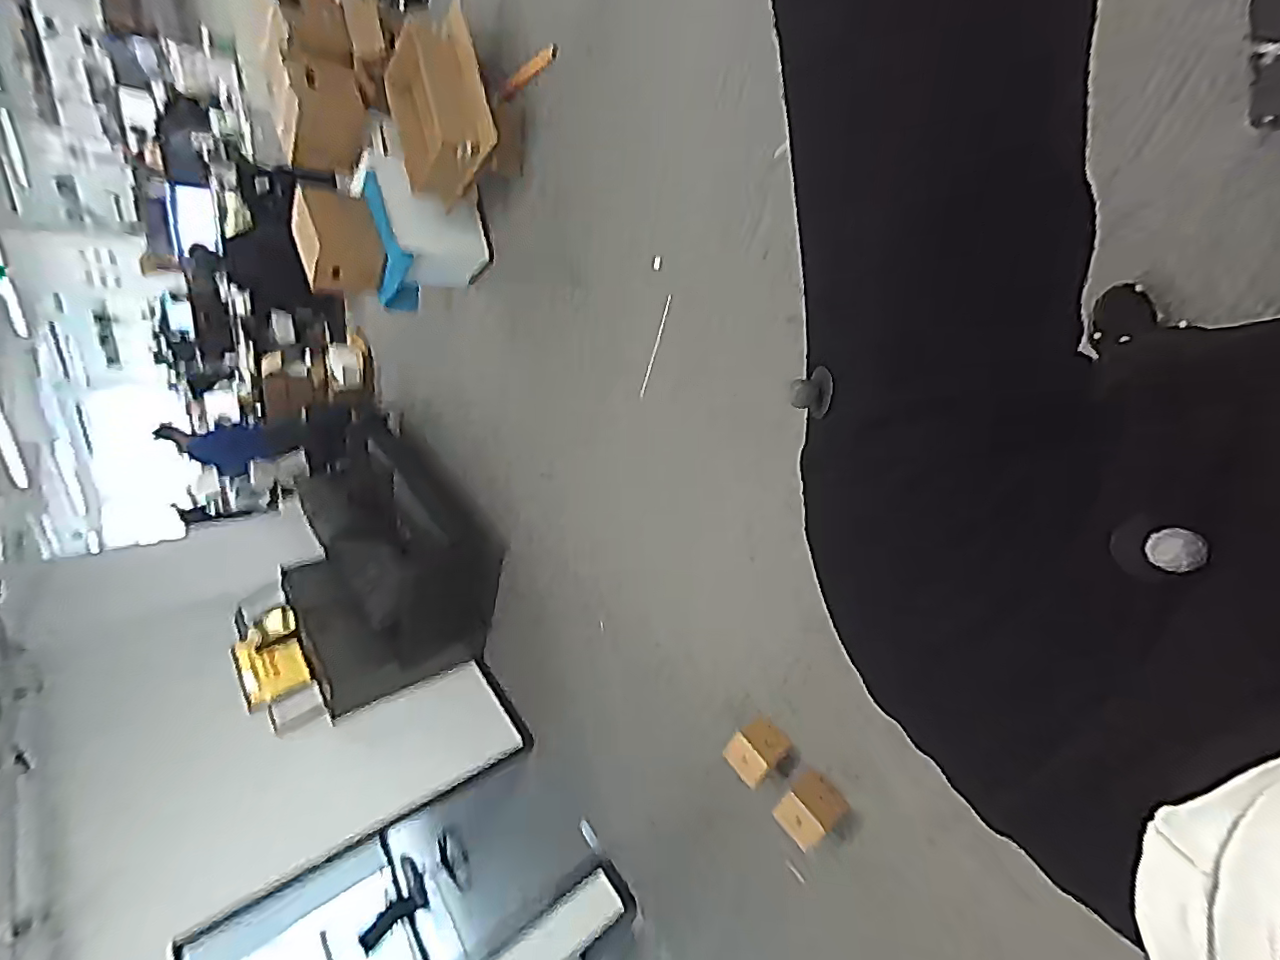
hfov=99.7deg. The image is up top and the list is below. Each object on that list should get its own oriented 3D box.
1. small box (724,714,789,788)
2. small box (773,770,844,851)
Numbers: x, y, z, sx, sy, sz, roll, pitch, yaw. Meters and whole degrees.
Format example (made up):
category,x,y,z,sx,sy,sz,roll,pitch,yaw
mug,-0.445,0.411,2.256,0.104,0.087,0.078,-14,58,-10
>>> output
category,x,y,z,sx,sy,sz,roll,pitch,yaw
small box,0.476,1.090,2.187,0.168,0.176,0.179,42,129,33
small box,0.641,1.238,2.037,0.168,0.176,0.179,43,129,33
